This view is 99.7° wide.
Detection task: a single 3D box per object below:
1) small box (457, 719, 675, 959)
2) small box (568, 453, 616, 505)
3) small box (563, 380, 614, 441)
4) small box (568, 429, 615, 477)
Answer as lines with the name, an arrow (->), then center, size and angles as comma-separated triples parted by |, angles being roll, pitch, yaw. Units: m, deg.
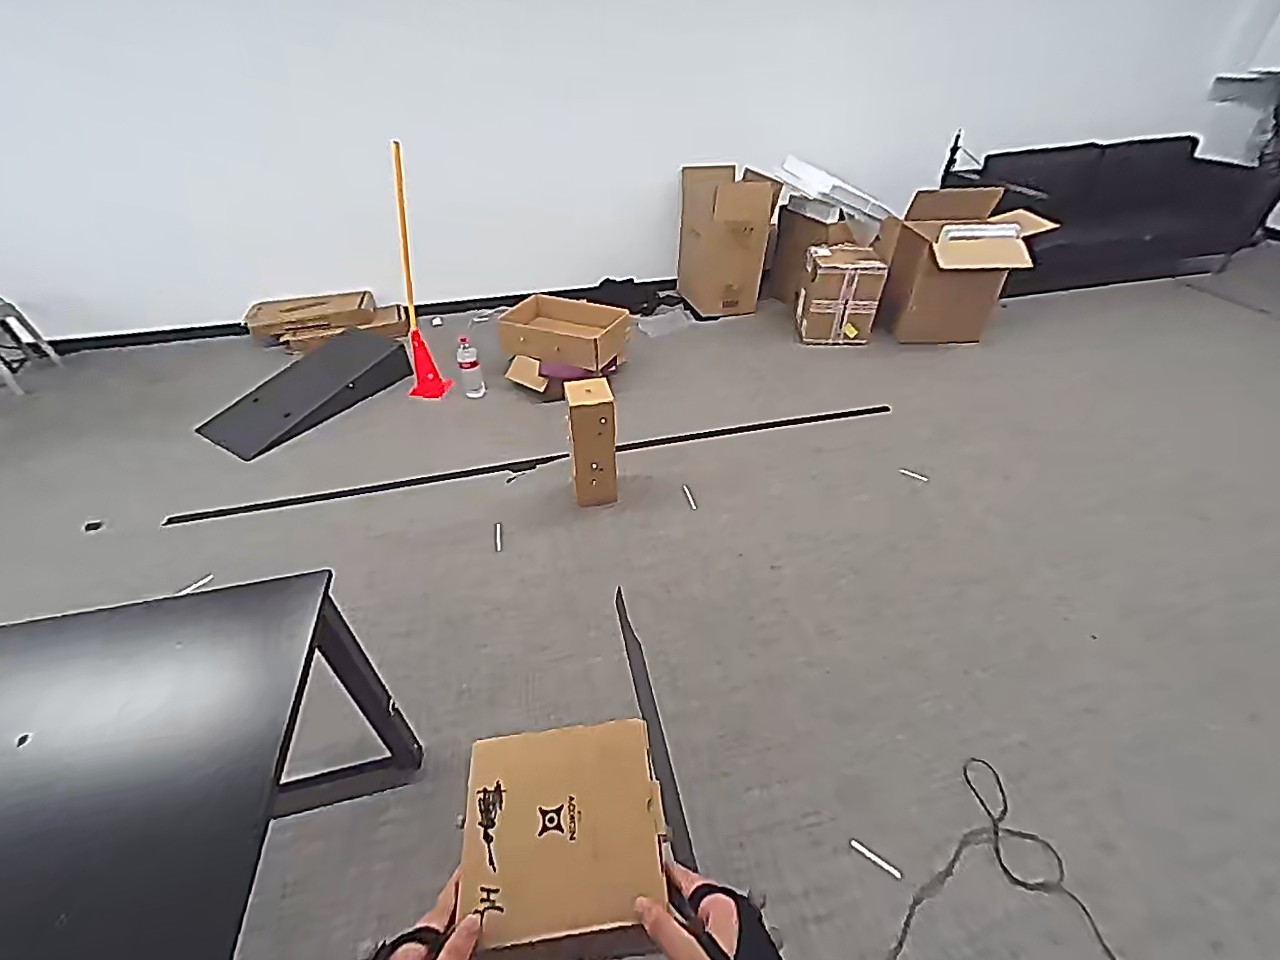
small box -> -0.067, 0.364, 0.541 | 0.179, 0.176, 0.168 | -5, 41, -5
small box -> -0.201, -0.012, 2.287 | 0.179, 0.176, 0.168 | -8, 41, -10
small box -> -0.196, -0.262, 2.076 | 0.168, 0.176, 0.179 | -8, 40, -11
small box -> -0.198, -0.135, 2.178 | 0.168, 0.176, 0.179 | -9, 41, -10
